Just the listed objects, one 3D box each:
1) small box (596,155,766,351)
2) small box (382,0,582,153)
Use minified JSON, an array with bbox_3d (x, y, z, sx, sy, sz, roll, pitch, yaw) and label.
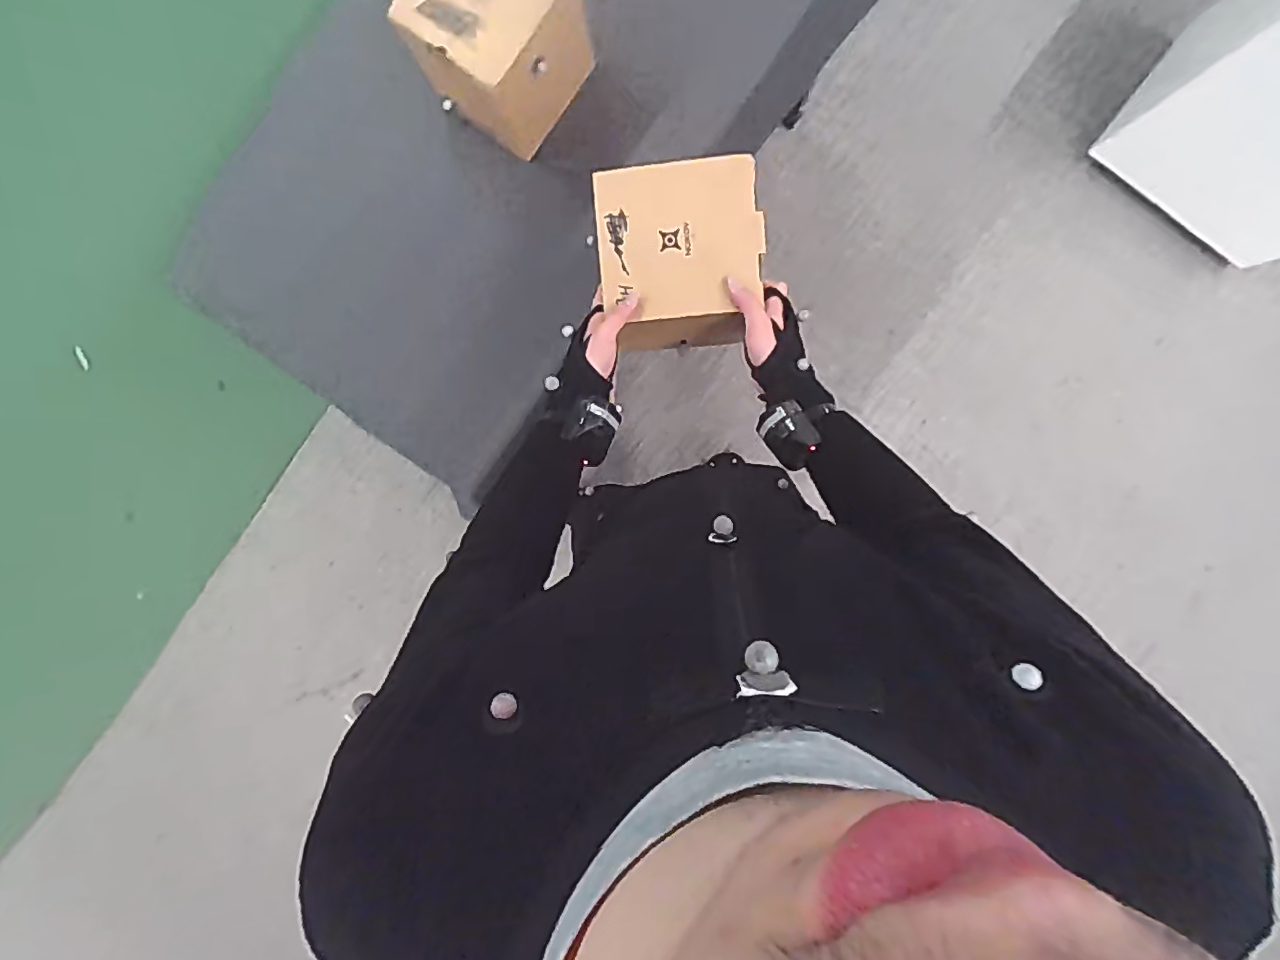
[{"bbox_3d":[0.046,-0.259,0.654,0.179,0.176,0.168,-4,91,3],"label":"small box"},{"bbox_3d":[-0.194,-0.590,0.723,0.168,0.176,0.179,37,94,0],"label":"small box"}]
